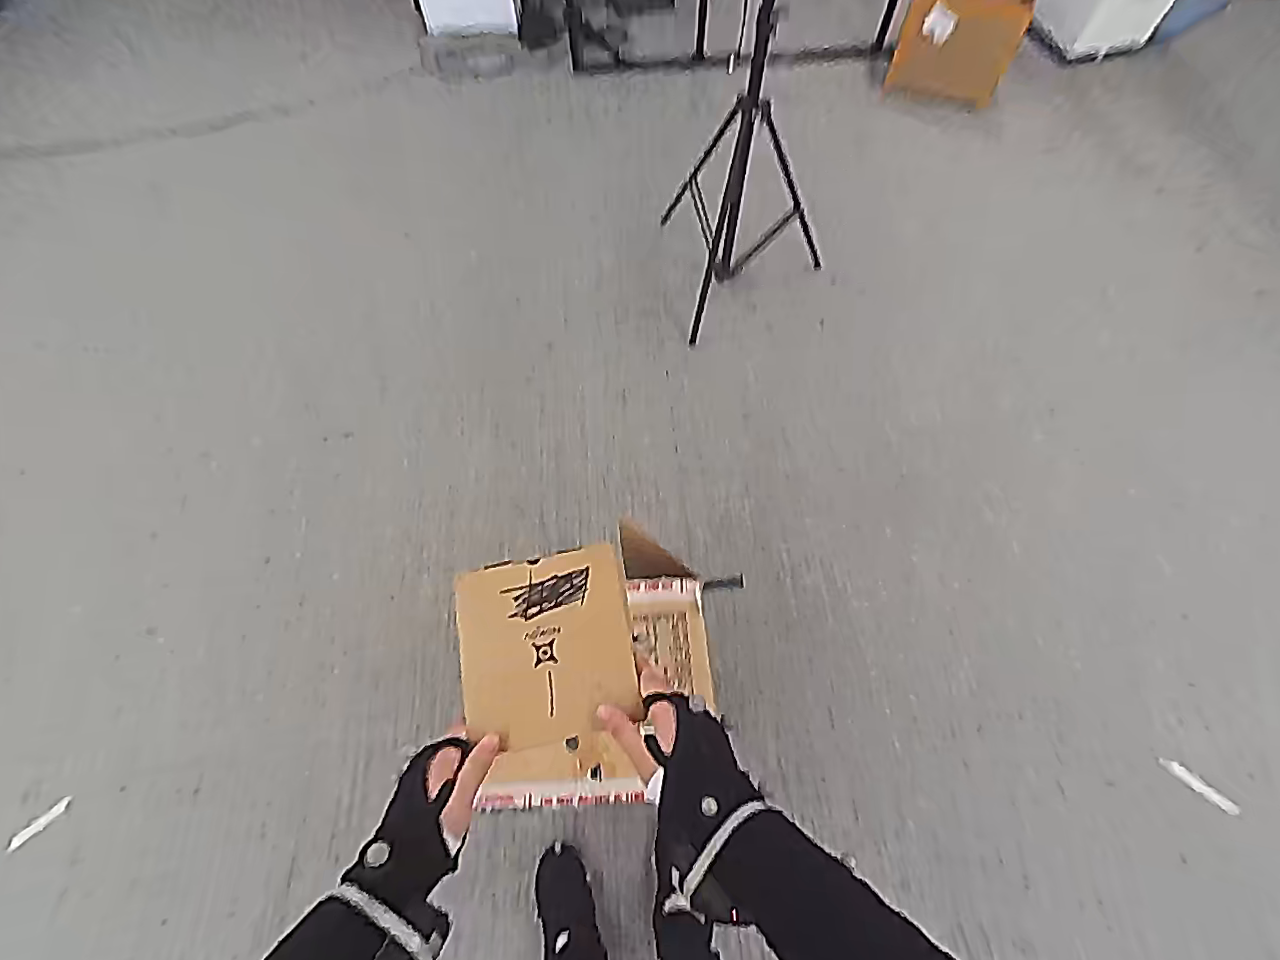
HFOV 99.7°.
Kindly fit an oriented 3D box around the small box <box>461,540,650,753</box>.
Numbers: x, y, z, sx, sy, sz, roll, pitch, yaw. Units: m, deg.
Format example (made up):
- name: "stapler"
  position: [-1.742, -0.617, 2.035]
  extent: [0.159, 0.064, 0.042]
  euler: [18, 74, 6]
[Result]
- name: "small box"
  position: [-0.085, 0.185, 0.596]
  extent: [0.168, 0.176, 0.179]
  euler: [-12, 68, -2]
